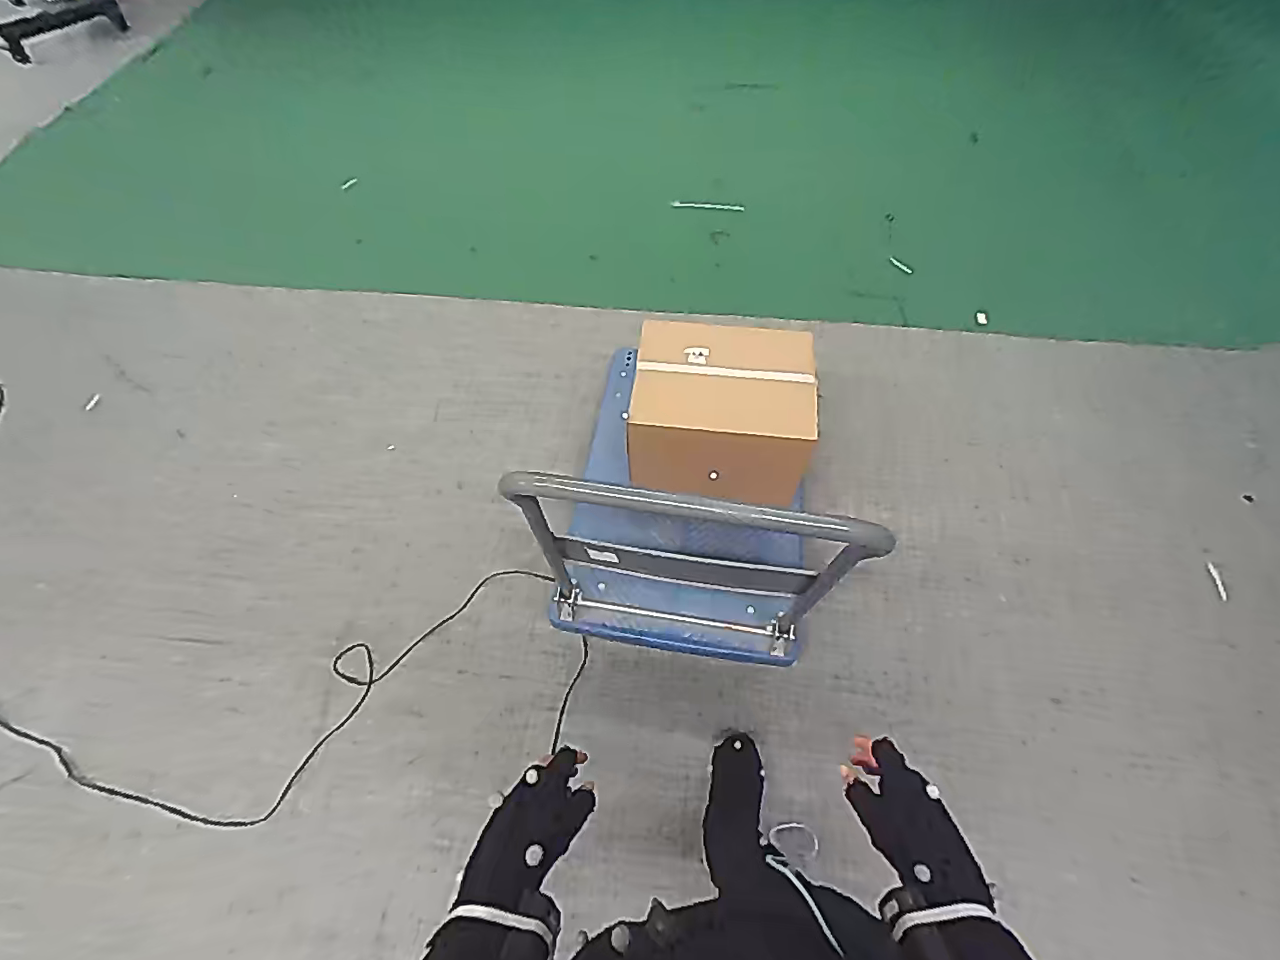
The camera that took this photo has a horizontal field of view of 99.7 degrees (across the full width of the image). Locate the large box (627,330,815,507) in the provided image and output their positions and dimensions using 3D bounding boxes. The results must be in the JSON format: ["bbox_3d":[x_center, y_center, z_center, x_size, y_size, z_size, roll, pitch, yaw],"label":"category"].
[{"bbox_3d":[0.195,-0.146,1.349,0.408,0.320,0.320,5,59,6],"label":"large box"}]
